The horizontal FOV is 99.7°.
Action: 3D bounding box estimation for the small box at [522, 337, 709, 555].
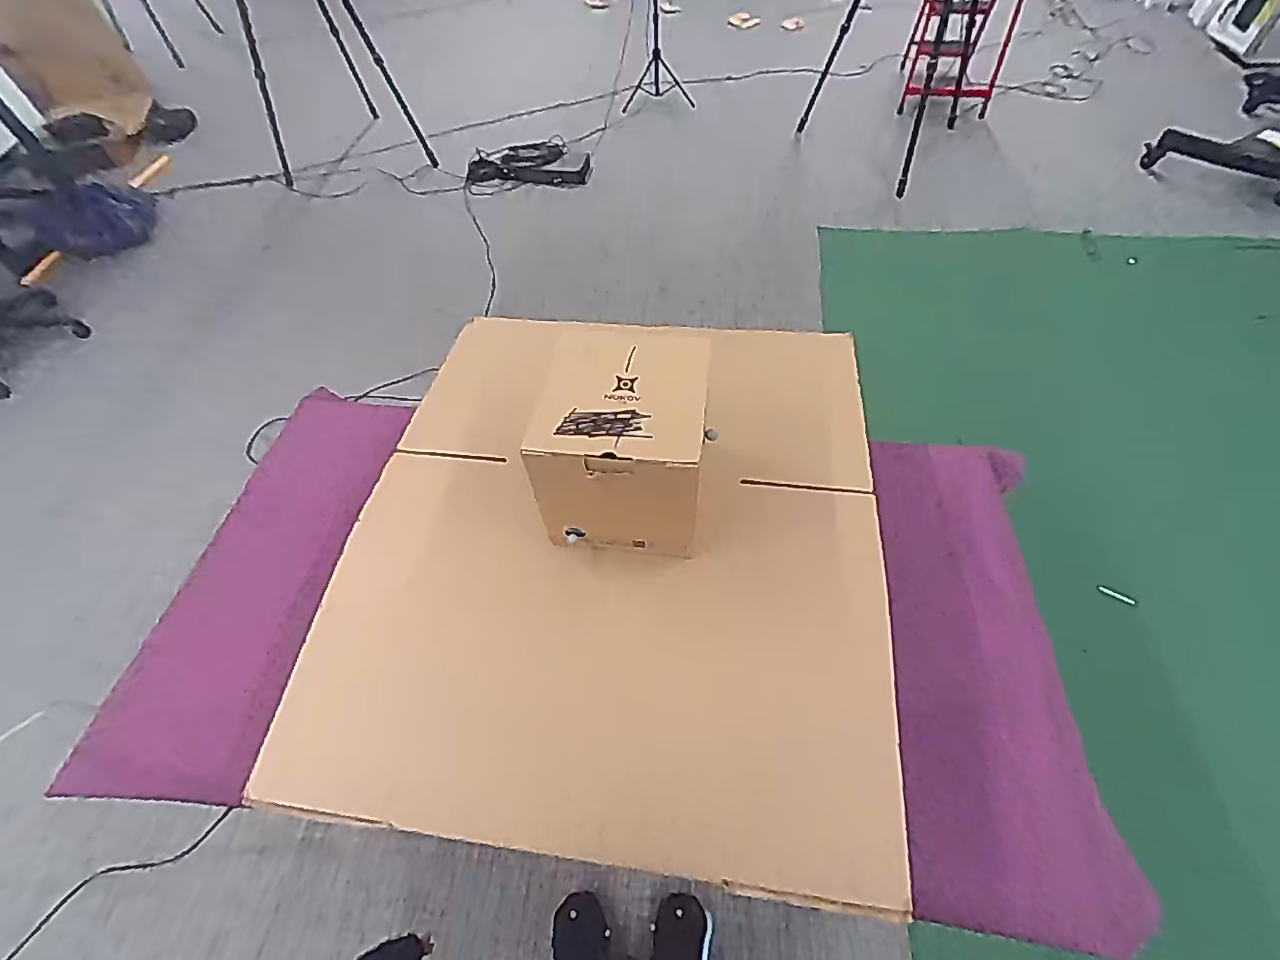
[{"bbox_3d":[-0.014,-0.034,0.600,0.168,0.176,0.179,5,53,7],"label":"small box"}]
